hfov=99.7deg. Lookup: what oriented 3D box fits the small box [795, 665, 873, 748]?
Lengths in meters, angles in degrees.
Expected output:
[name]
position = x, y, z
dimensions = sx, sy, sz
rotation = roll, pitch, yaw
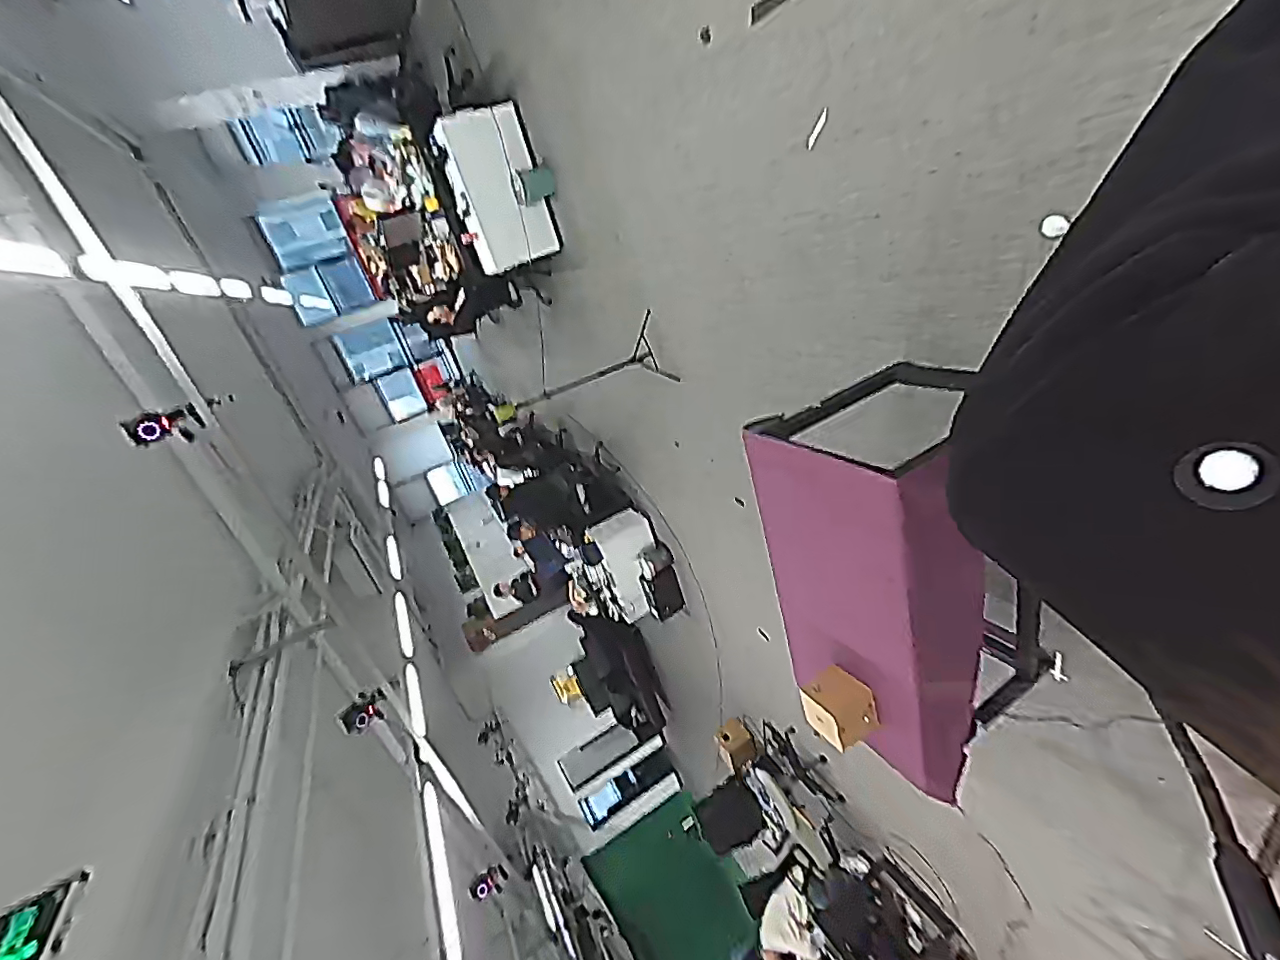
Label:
[small box]
position = 0.672, 0.772, 1.872
dimensions = 0.179, 0.176, 0.168
rotation = 27, 140, 61
